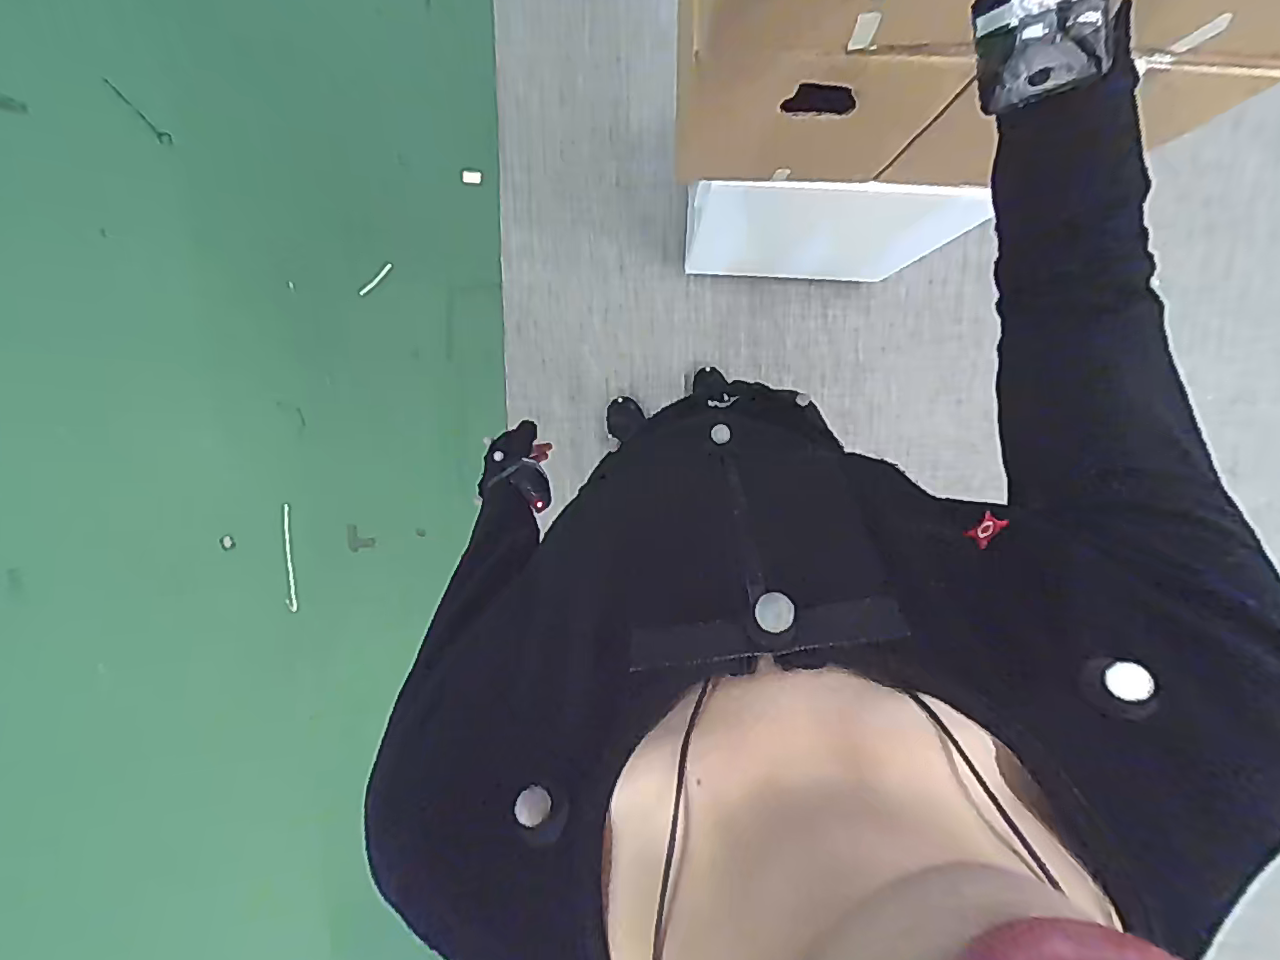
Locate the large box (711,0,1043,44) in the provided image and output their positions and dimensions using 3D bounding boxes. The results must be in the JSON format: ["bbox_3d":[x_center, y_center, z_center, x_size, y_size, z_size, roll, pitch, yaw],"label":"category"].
[{"bbox_3d":[0.206,-0.612,0.357,0.320,0.320,0.408,-2,95,1],"label":"large box"}]
